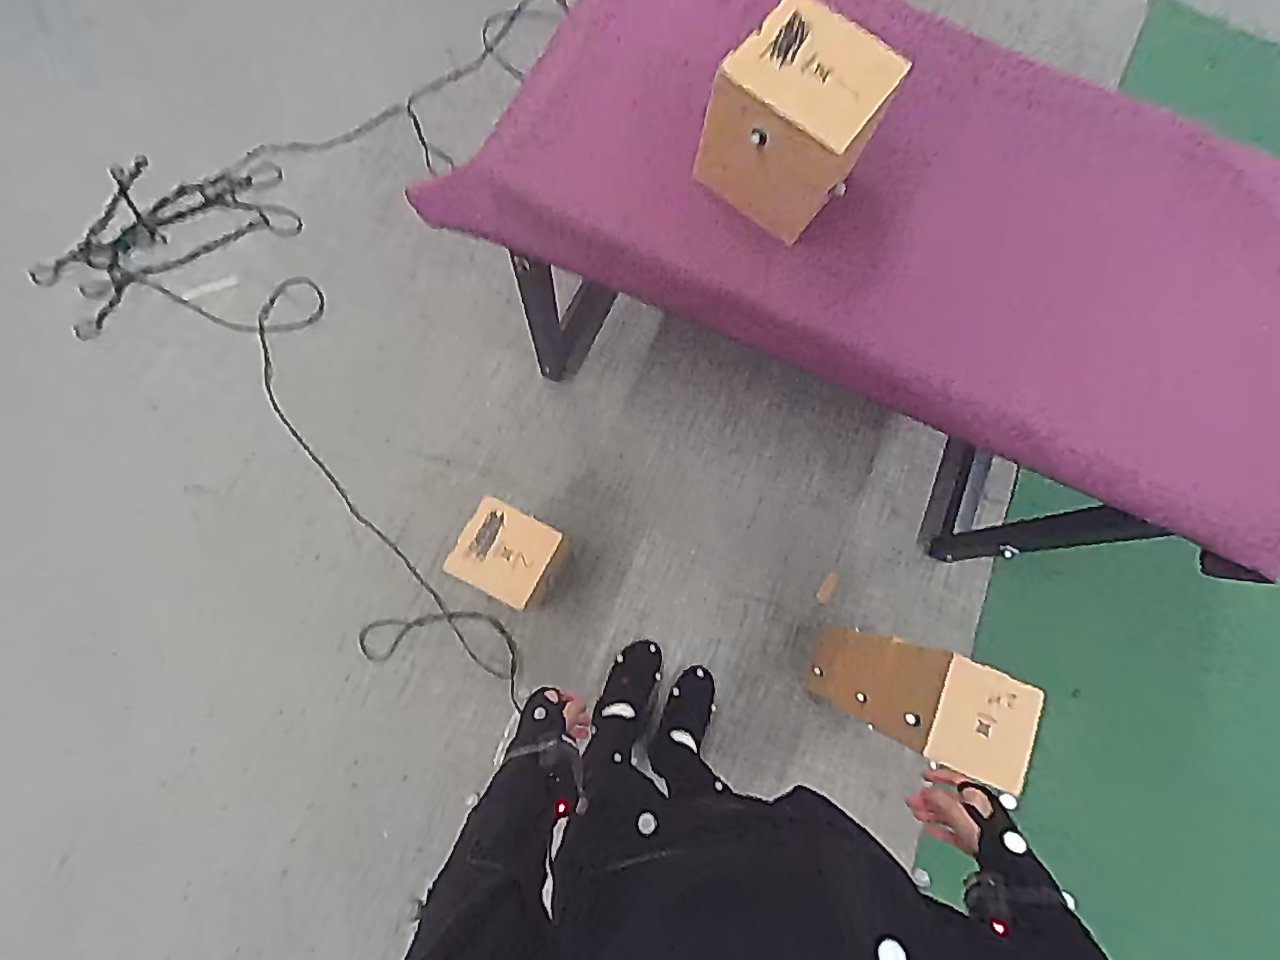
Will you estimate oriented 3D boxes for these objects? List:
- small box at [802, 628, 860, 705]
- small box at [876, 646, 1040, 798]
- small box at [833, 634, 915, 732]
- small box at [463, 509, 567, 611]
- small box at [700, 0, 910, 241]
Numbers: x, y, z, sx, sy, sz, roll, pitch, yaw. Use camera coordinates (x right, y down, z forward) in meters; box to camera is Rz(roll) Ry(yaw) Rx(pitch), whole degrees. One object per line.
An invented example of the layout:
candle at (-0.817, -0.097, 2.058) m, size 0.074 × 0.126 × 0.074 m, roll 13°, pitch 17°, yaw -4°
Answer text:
small box at (0.509, 0.462, 1.274) m, size 0.179 × 0.176 × 0.168 m, roll 26°, pitch 77°, yaw 1°
small box at (0.546, 0.411, 0.953) m, size 0.168 × 0.176 × 0.179 m, roll 24°, pitch 78°, yaw 0°
small box at (0.525, 0.431, 1.115) m, size 0.168 × 0.176 × 0.179 m, roll 23°, pitch 78°, yaw 1°
small box at (-0.283, 0.191, 1.273) m, size 0.168 × 0.176 × 0.179 m, roll 28°, pitch 78°, yaw 2°
small box at (0.200, -0.457, 0.709) m, size 0.179 × 0.176 × 0.168 m, roll 38°, pitch 78°, yaw 4°
